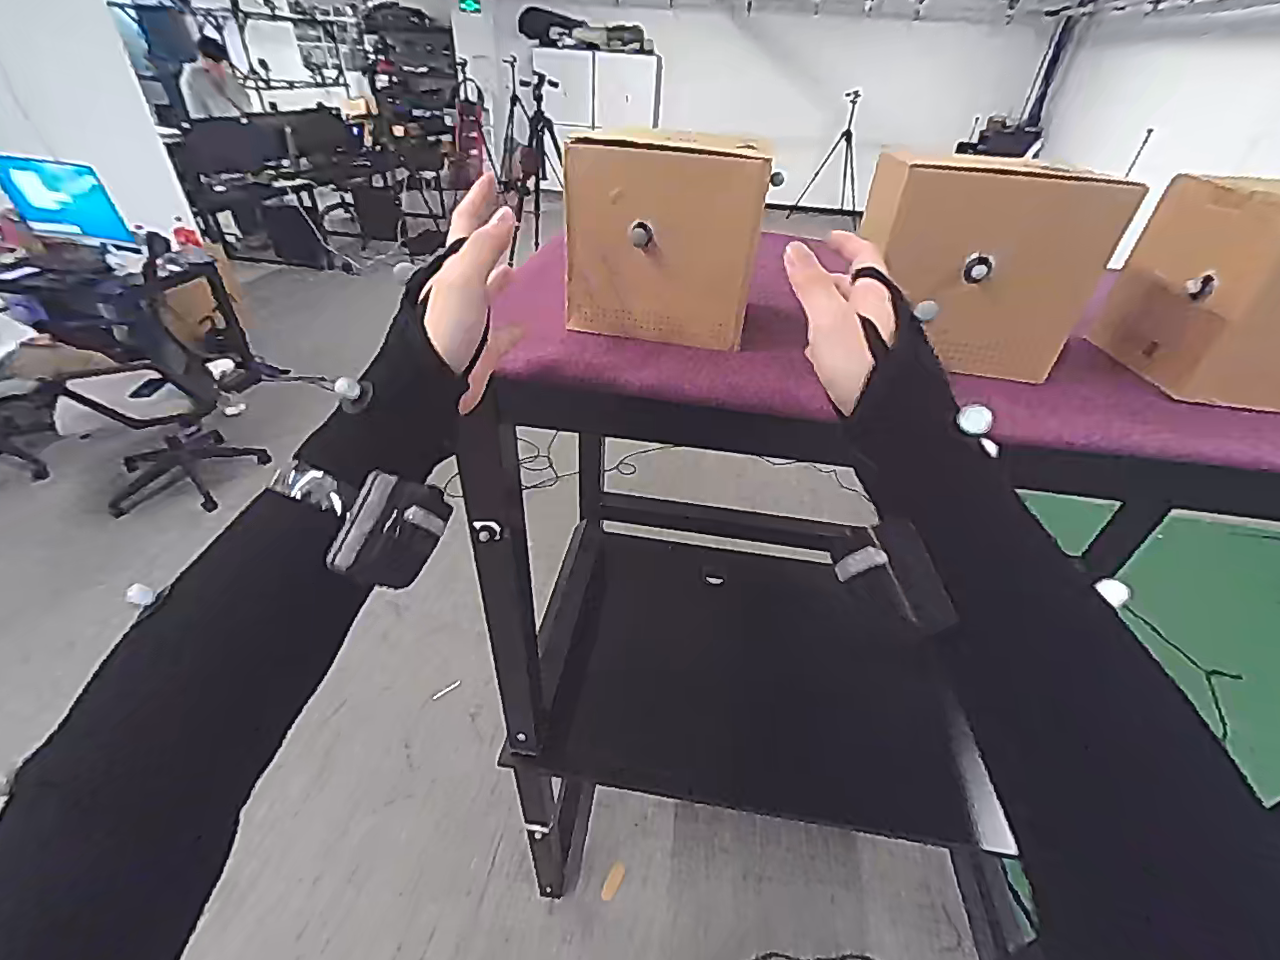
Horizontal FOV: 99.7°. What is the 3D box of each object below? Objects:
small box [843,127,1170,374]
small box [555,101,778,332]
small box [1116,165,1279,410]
[{"bbox_3d":[0.306,-0.214,0.503,0.179,0.176,0.168,11,37,9],"label":"small box"},{"bbox_3d":[0.028,-0.258,0.526,0.179,0.176,0.168,11,39,8],"label":"small box"},{"bbox_3d":[0.574,-0.162,0.471,0.179,0.176,0.168,10,38,6],"label":"small box"}]
